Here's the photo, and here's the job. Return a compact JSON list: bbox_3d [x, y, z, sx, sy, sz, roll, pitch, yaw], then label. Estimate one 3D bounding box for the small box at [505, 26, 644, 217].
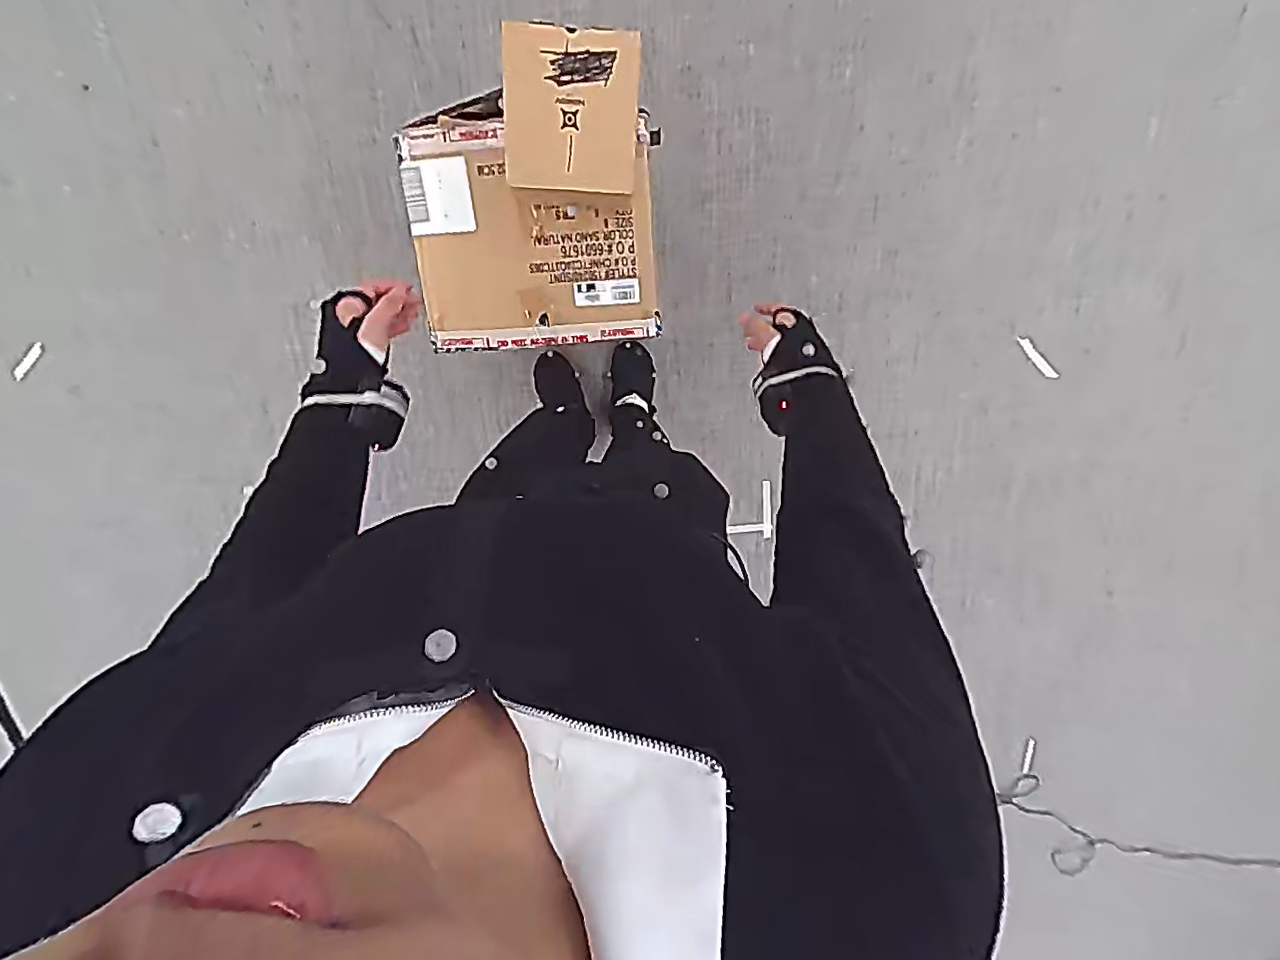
[{"bbox_3d":[-0.087,-0.470,0.738,0.168,0.176,0.179,3,110,-4],"label":"small box"}]
